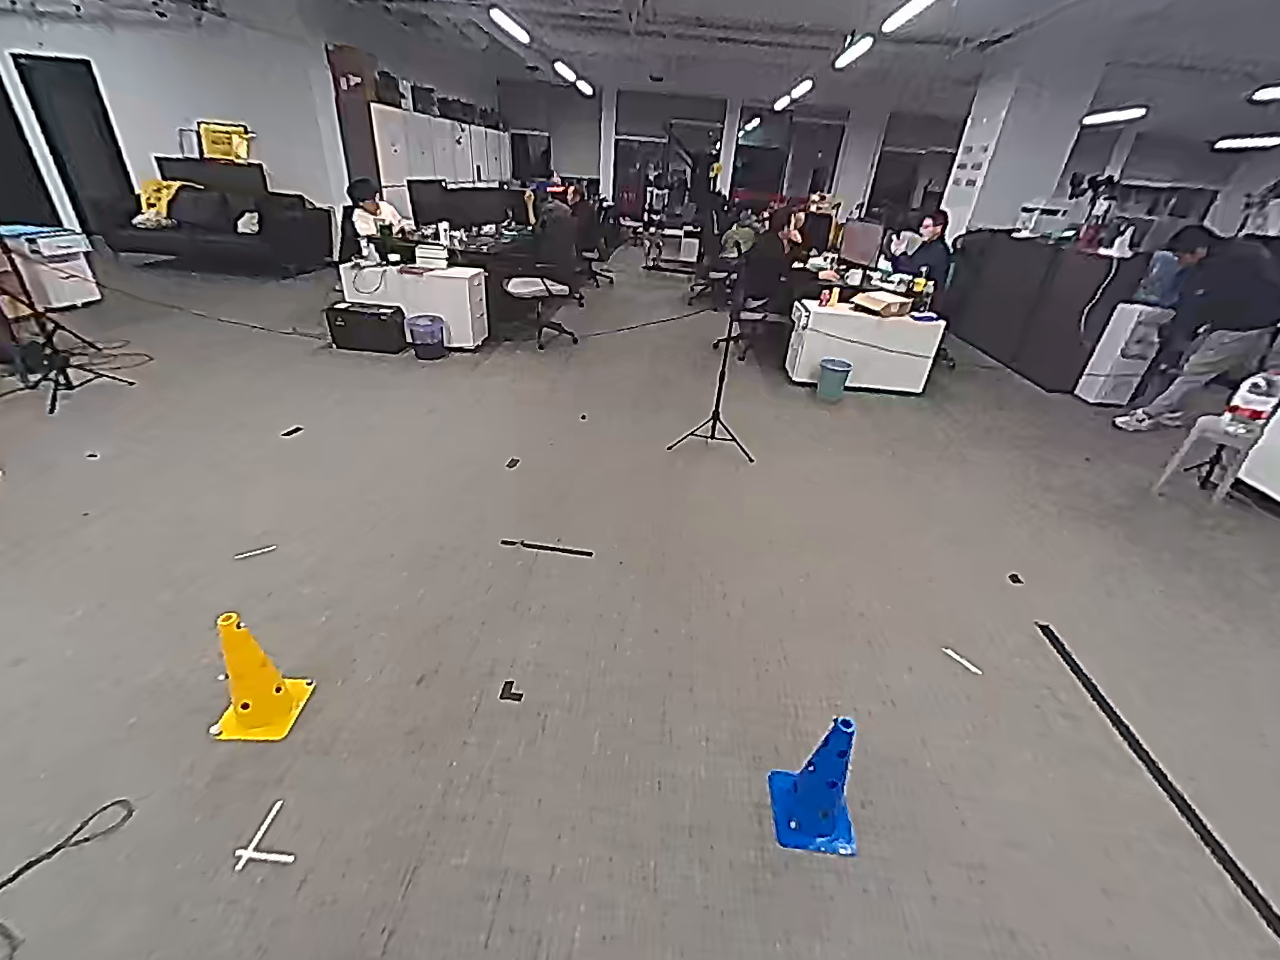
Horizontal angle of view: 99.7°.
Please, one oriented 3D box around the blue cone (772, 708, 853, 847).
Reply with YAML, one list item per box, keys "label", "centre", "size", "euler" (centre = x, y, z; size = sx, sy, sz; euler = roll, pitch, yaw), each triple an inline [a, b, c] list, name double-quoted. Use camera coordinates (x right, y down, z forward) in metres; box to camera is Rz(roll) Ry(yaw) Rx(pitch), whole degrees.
- label: "blue cone"
  centre: [0.461, 0.709, 1.332]
  size: [0.193, 0.380, 0.192]
  euler: [7, 29, 3]
